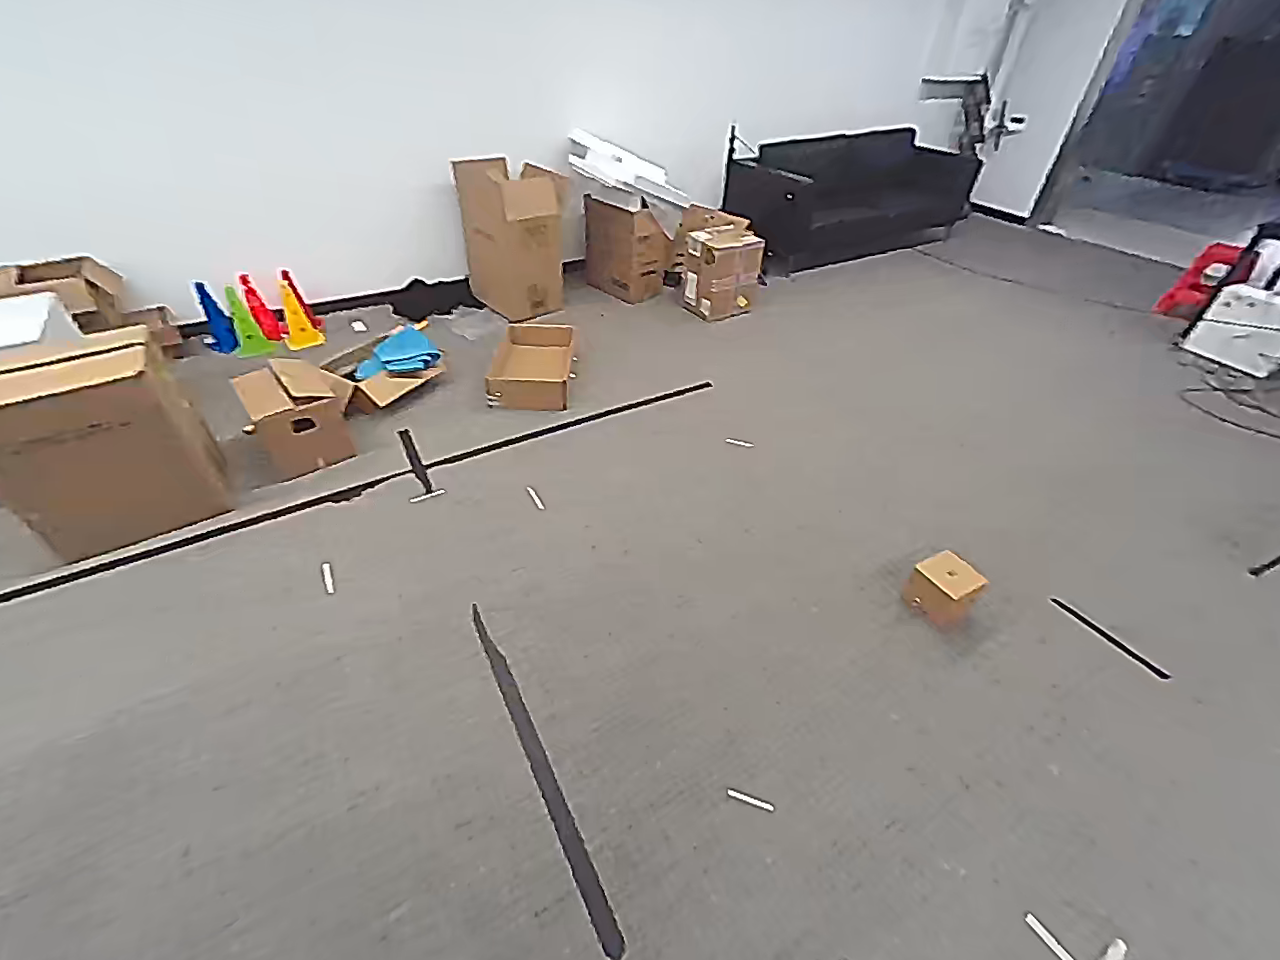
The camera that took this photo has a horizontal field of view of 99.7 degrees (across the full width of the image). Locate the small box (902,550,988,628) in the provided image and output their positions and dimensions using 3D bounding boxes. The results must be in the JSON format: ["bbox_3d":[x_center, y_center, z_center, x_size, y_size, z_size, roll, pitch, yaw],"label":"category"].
[{"bbox_3d":[1.044,0.377,1.868,0.179,0.176,0.168,-19,43,-21],"label":"small box"}]
